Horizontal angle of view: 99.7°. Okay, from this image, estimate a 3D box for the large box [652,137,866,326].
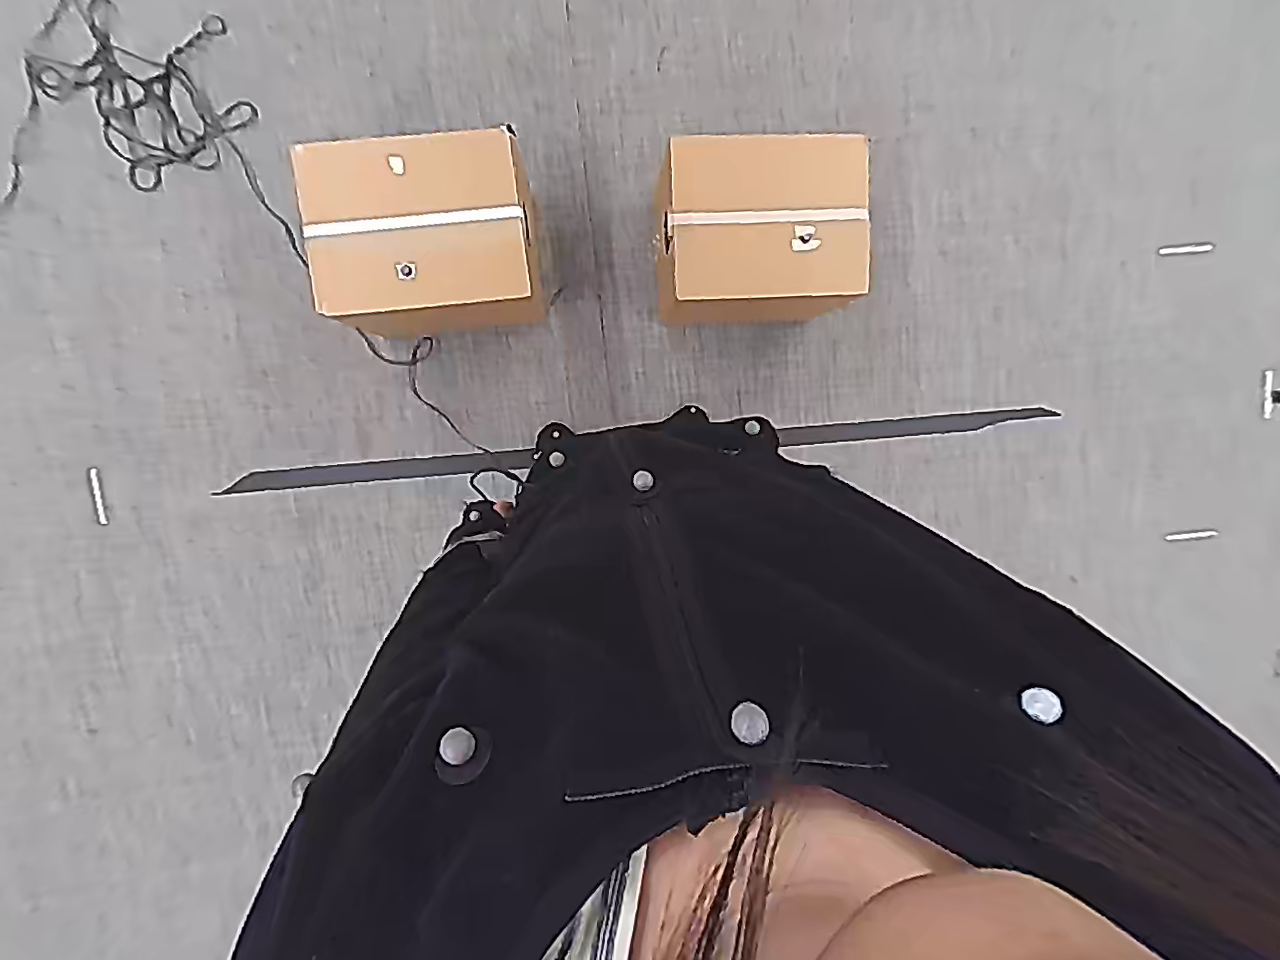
[{"bbox_3d":[0.250,-0.545,1.239,0.408,0.320,0.320,-3,97,-5],"label":"large box"}]
